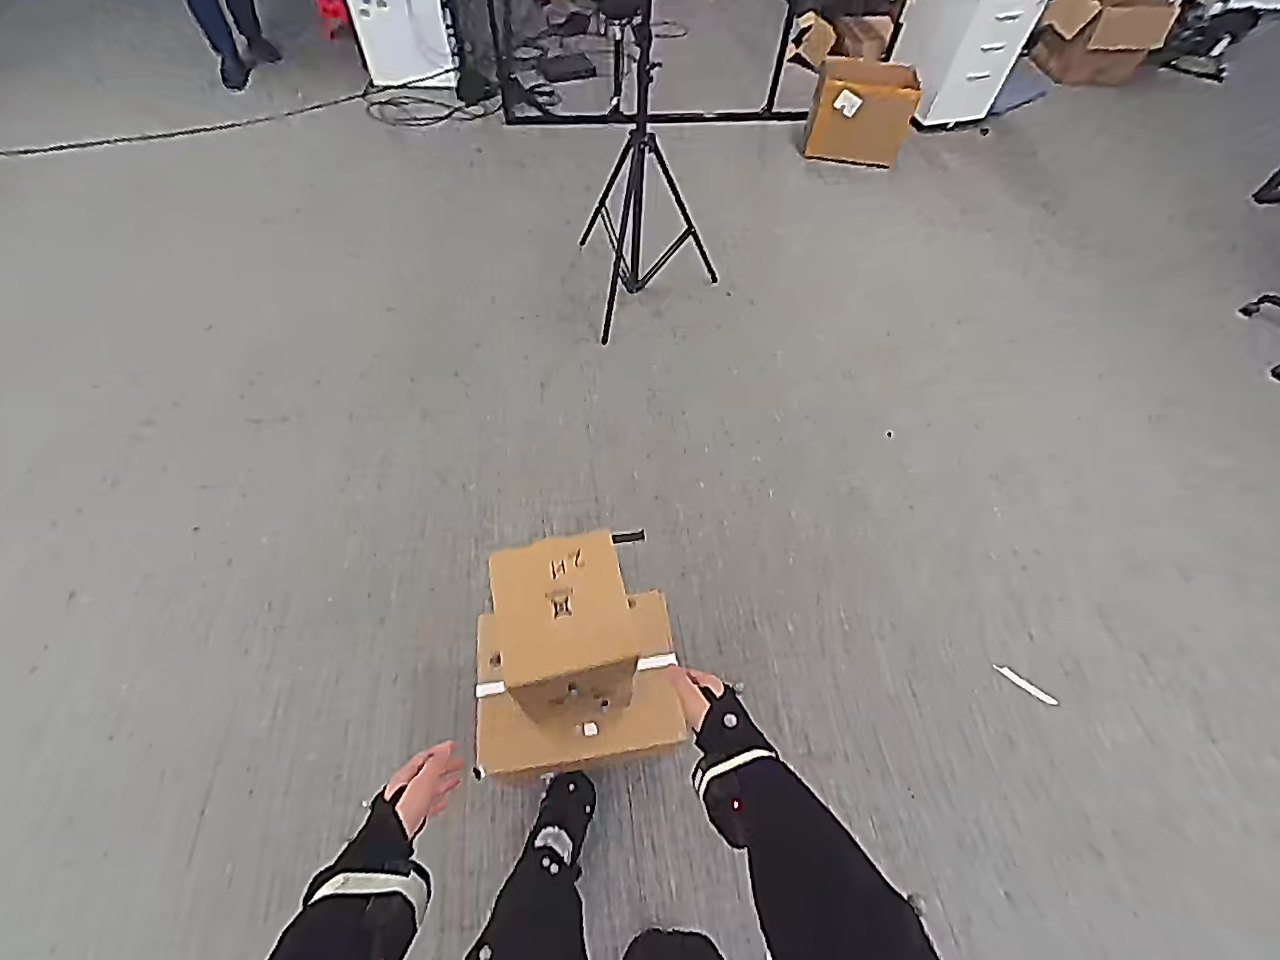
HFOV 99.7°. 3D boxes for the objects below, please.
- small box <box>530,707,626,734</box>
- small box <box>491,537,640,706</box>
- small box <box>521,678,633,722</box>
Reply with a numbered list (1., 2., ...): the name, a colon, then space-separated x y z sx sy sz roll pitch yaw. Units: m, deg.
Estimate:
1. small box: -0.122 0.370 1.030 0.168 0.176 0.179 -7 60 -7
2. small box: -0.102 0.203 0.749 0.168 0.176 0.179 -10 61 -12
3. small box: -0.107 0.290 0.889 0.168 0.176 0.179 -7 59 -9
